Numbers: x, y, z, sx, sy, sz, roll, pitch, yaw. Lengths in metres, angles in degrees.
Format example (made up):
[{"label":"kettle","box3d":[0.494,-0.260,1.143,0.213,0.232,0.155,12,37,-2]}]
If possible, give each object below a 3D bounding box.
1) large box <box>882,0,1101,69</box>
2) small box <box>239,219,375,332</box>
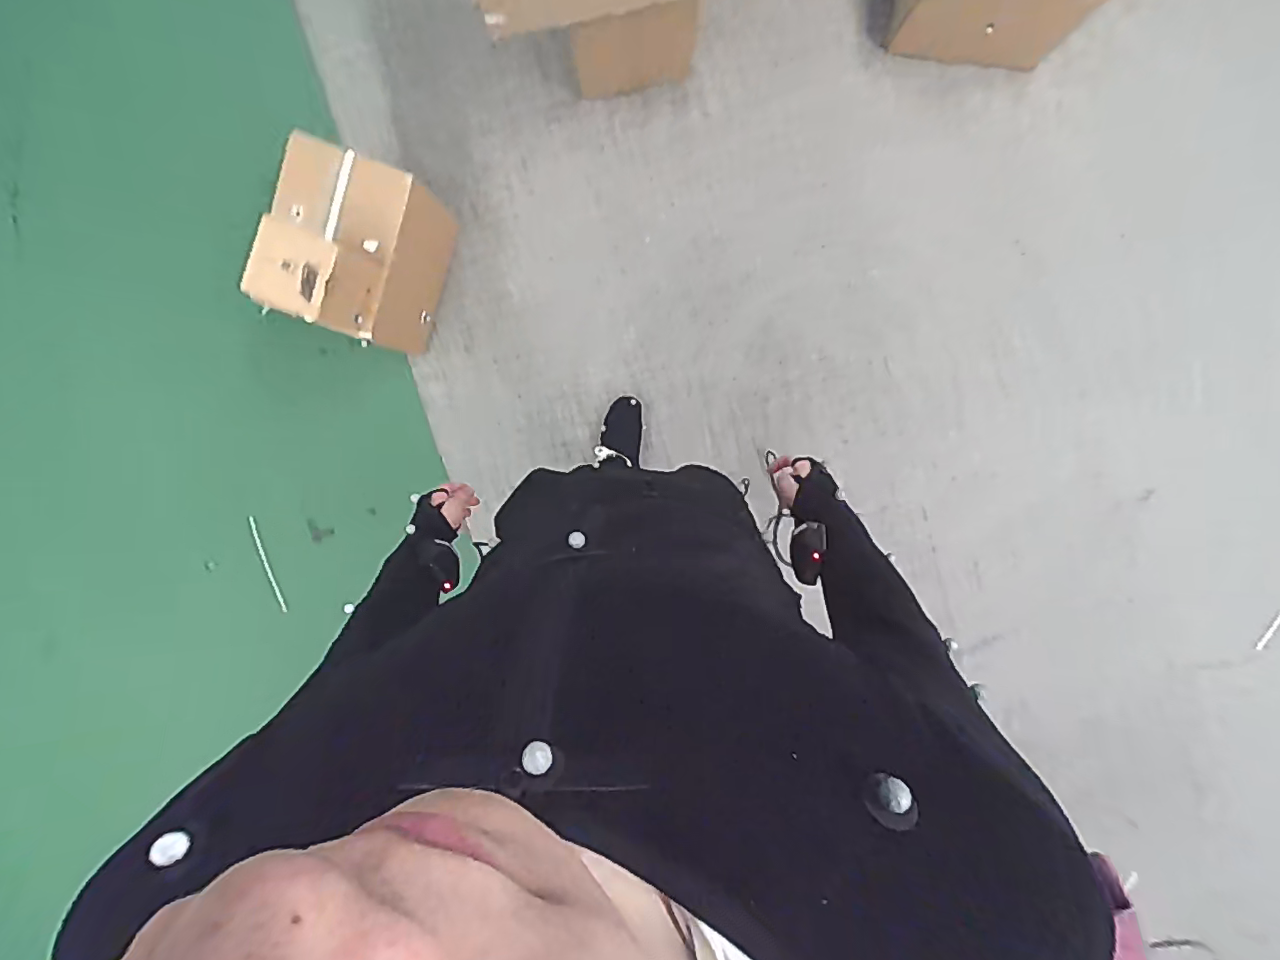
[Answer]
[{"label":"large box","box3d":[0.862,-1.258,1.300,0.408,0.320,0.320,7,96,3]},{"label":"small box","box3d":[-0.726,-0.441,1.200,0.179,0.176,0.168,22,96,0]}]
